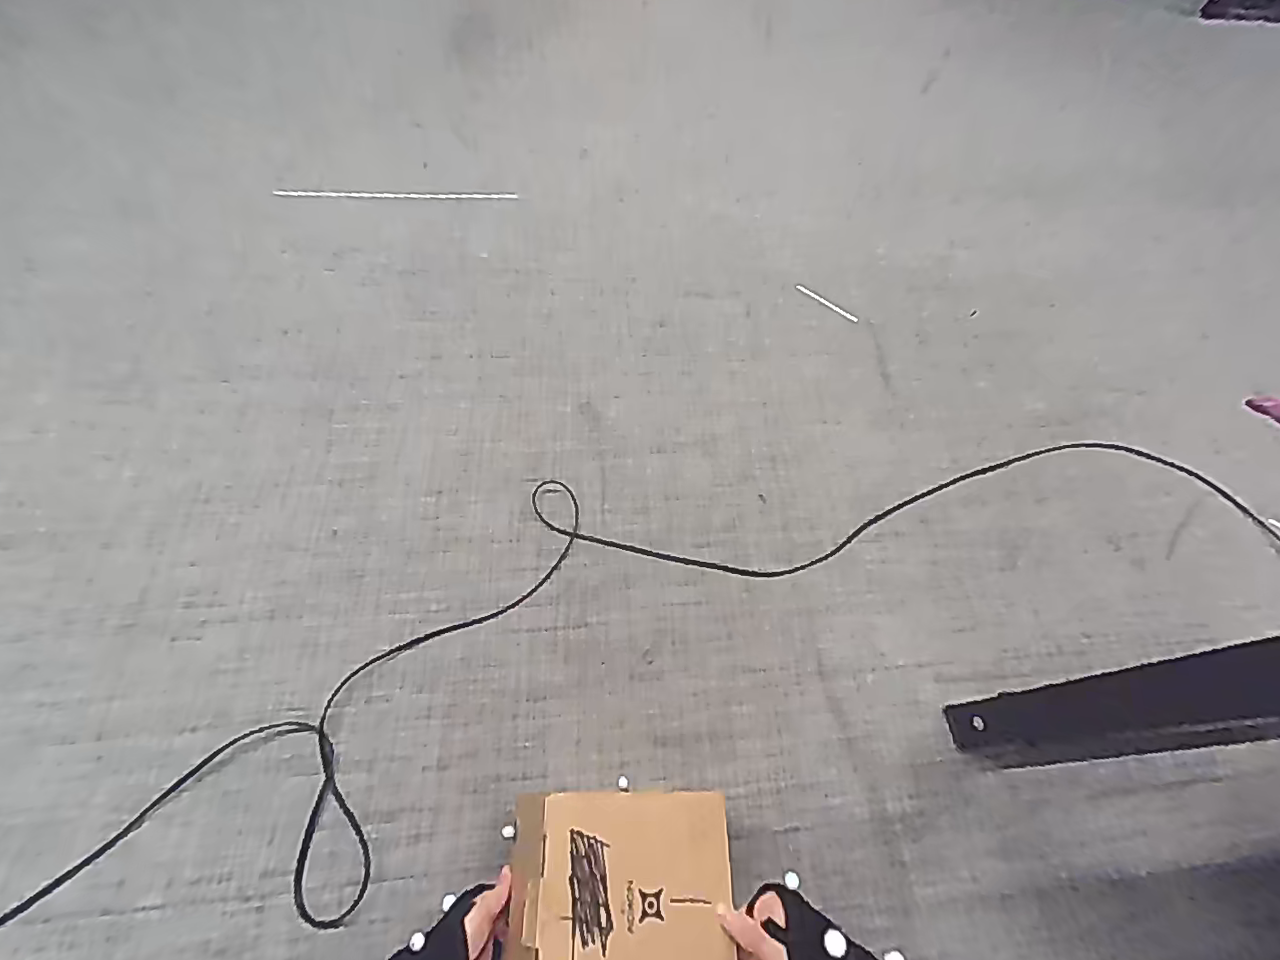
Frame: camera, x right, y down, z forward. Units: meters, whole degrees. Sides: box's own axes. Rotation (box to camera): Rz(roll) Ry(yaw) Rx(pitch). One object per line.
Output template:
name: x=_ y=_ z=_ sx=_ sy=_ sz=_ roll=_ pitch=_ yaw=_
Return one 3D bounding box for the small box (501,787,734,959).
small box: x=-0.029 y=0.397 z=0.523 sx=0.179 sy=0.176 sz=0.168 roll=11 pitch=57 yaw=-19
